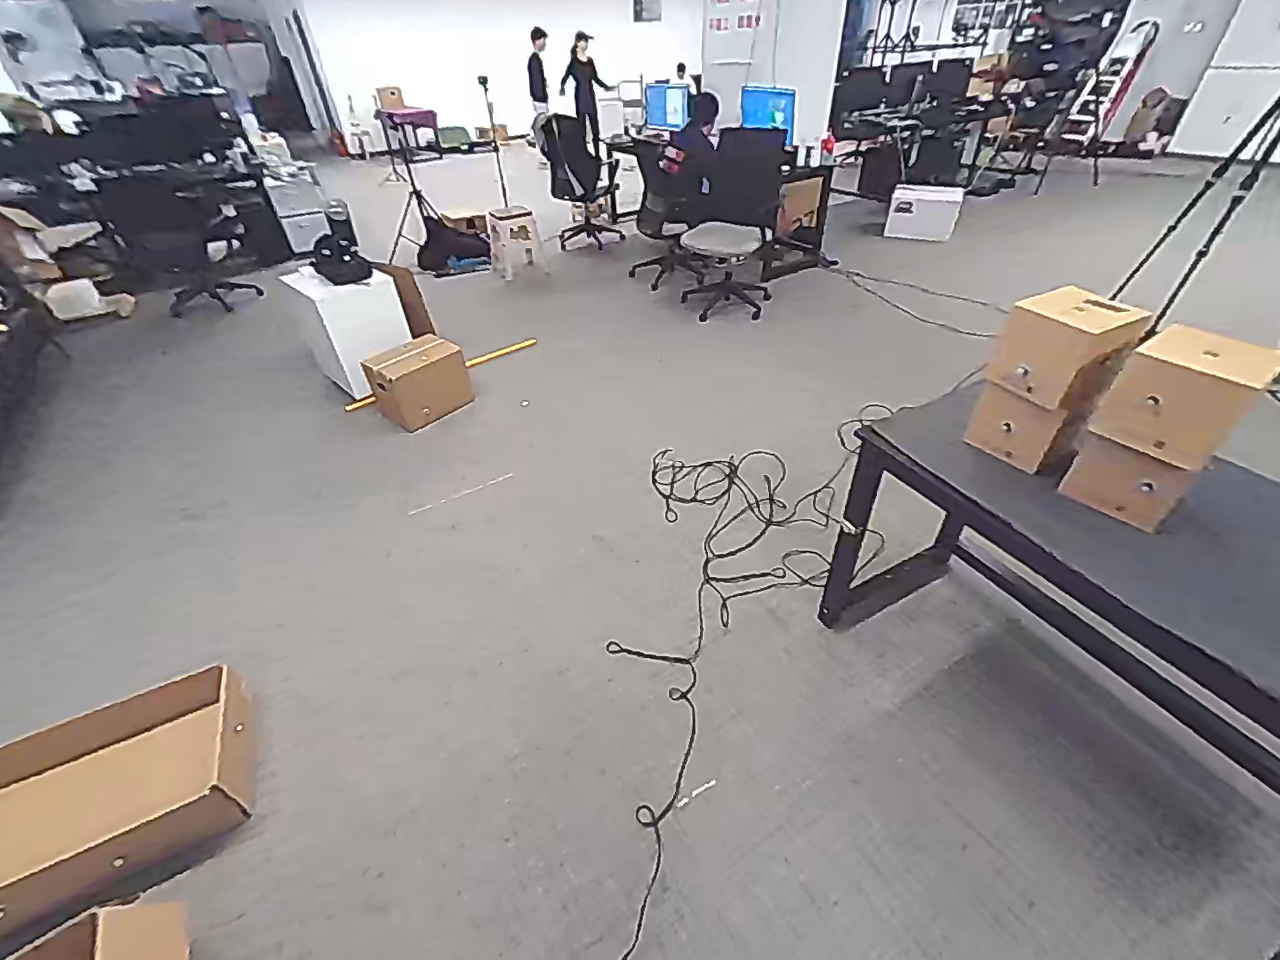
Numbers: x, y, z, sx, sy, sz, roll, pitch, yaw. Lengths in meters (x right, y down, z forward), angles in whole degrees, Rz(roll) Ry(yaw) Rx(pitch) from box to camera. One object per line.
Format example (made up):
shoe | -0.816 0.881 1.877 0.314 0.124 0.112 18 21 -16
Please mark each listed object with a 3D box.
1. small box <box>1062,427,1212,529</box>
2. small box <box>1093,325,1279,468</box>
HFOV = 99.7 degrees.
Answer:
small box | 0.979 -0.033 1.065 0.179 0.176 0.168 -28 46 -28
small box | 0.950 -0.147 0.951 0.179 0.176 0.168 -26 45 -26
